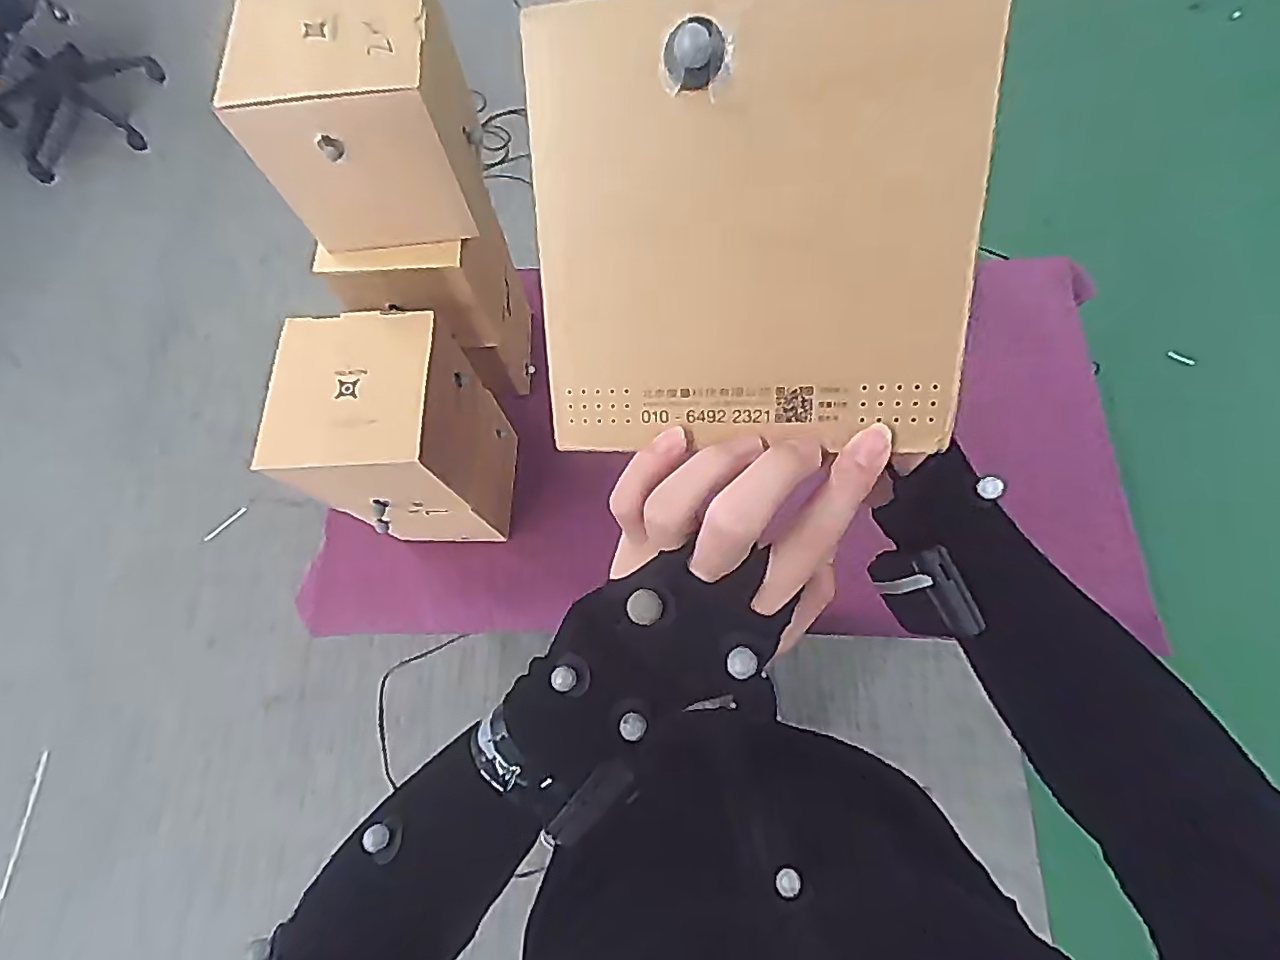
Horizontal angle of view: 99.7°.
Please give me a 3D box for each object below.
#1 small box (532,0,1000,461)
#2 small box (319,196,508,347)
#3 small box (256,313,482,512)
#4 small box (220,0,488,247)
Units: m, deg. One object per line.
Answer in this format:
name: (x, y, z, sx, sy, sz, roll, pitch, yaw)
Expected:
small box: (0.056, -0.113, 0.287, 0.168, 0.179, 0.176, 1, 106, 12)
small box: (-0.274, -0.285, 0.699, 0.168, 0.176, 0.179, -2, 71, 1)
small box: (-0.291, -0.070, 0.626, 0.168, 0.176, 0.179, -2, 71, 2)
small box: (-0.268, -0.362, 0.551, 0.179, 0.176, 0.168, -5, 72, 0)
